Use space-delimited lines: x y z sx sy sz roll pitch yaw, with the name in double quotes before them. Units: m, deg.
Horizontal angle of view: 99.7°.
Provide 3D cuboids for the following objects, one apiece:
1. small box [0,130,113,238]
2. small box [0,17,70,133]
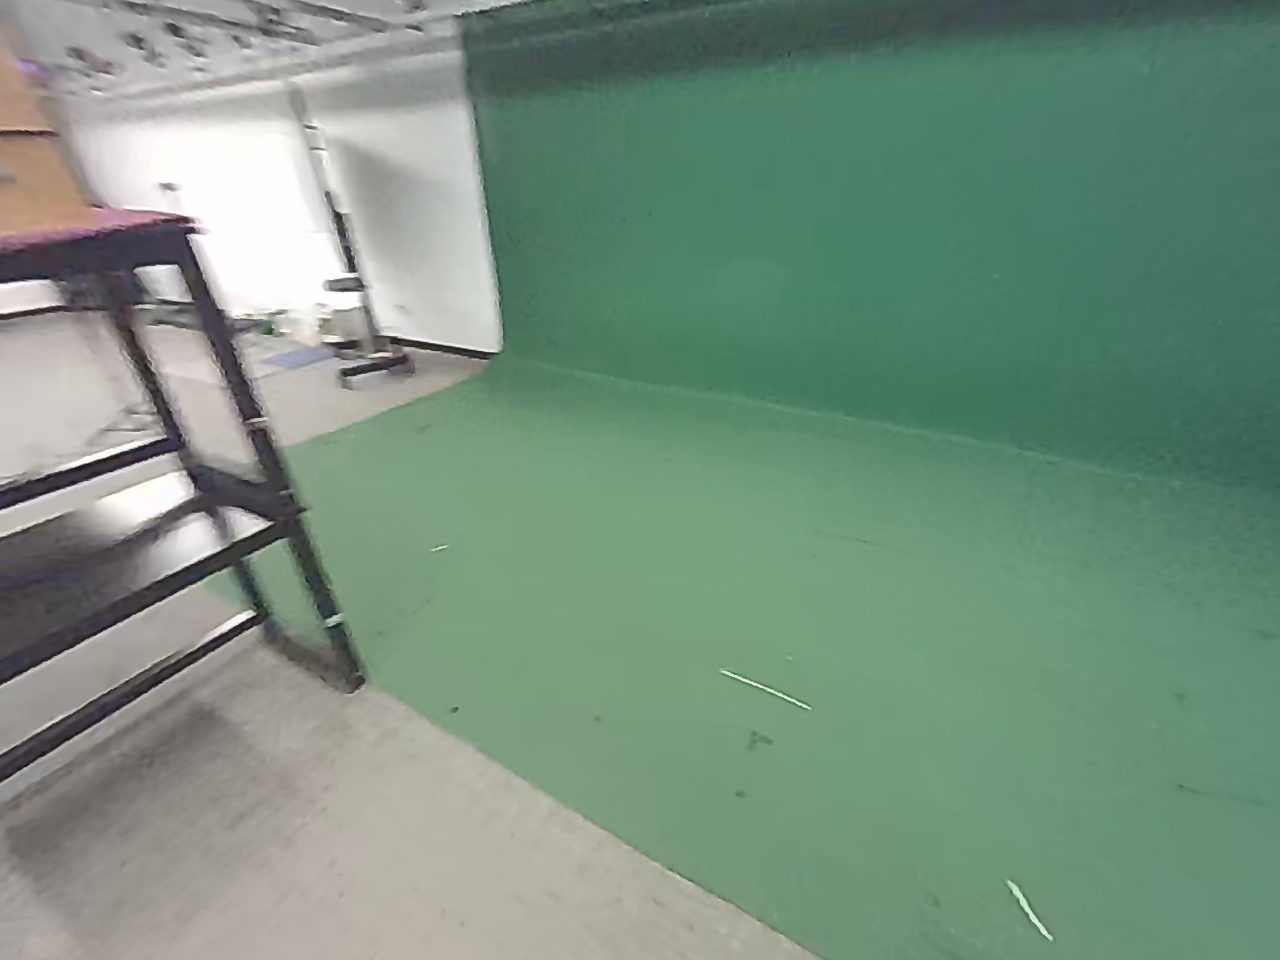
"small box" -1.195 -0.568 1.047 0.168 0.176 0.179 14 34 28
"small box" -1.194 -0.708 0.961 0.168 0.176 0.179 13 34 28
